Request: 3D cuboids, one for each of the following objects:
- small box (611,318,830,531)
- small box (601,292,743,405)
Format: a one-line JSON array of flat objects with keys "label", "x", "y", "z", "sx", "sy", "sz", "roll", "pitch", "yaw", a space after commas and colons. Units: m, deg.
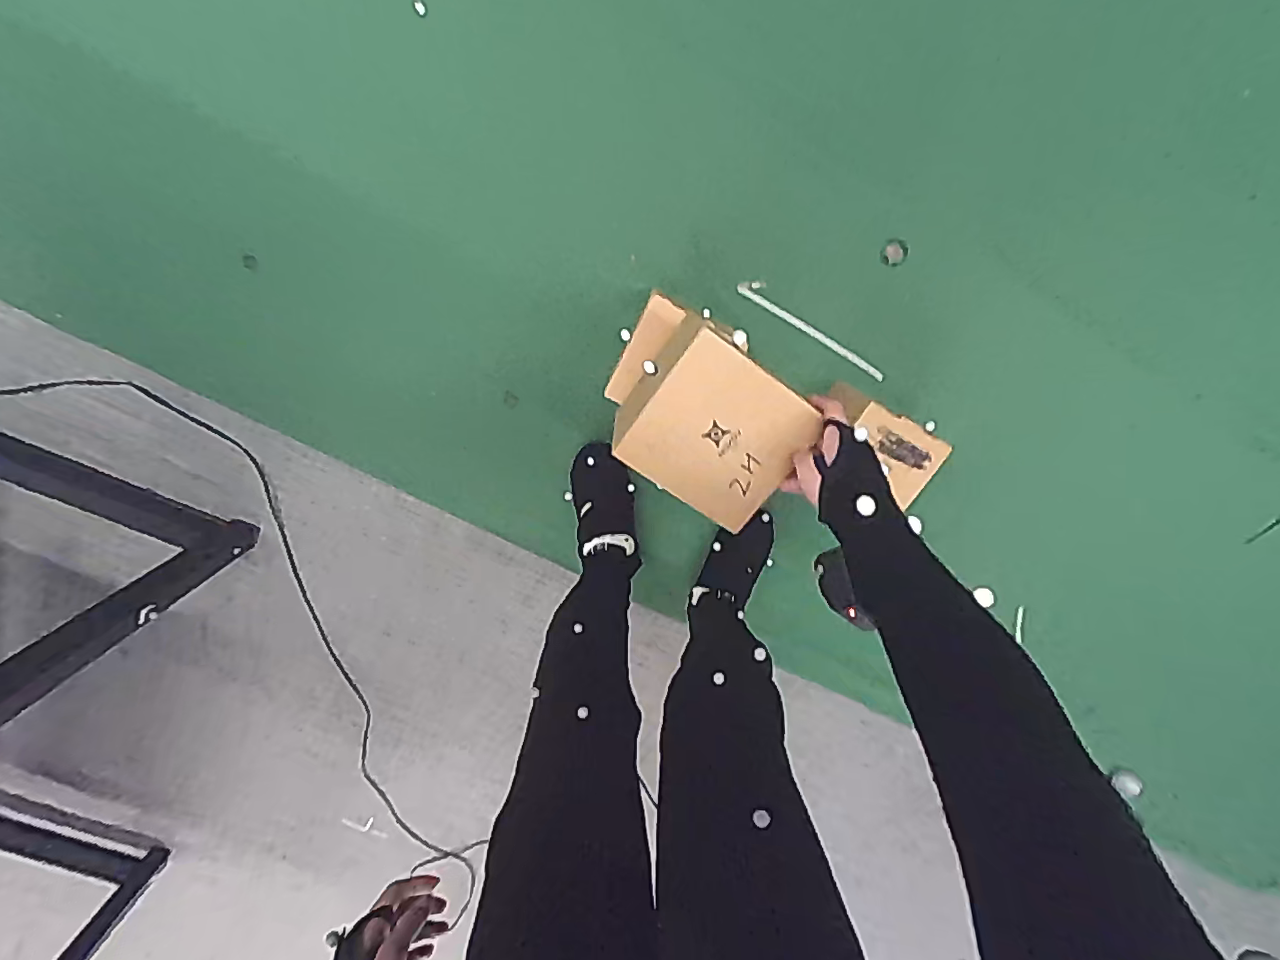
[{"label": "small box", "x": 0.083, "y": -0.076, "z": 0.644, "sx": 0.179, "sy": 0.176, "sz": 0.168, "roll": 33, "pitch": 109, "yaw": -14}, {"label": "small box", "x": 0.052, "y": -0.199, "z": 0.910, "sx": 0.168, "sy": 0.176, "sz": 0.179, "roll": 26, "pitch": 108, "yaw": -8}]
